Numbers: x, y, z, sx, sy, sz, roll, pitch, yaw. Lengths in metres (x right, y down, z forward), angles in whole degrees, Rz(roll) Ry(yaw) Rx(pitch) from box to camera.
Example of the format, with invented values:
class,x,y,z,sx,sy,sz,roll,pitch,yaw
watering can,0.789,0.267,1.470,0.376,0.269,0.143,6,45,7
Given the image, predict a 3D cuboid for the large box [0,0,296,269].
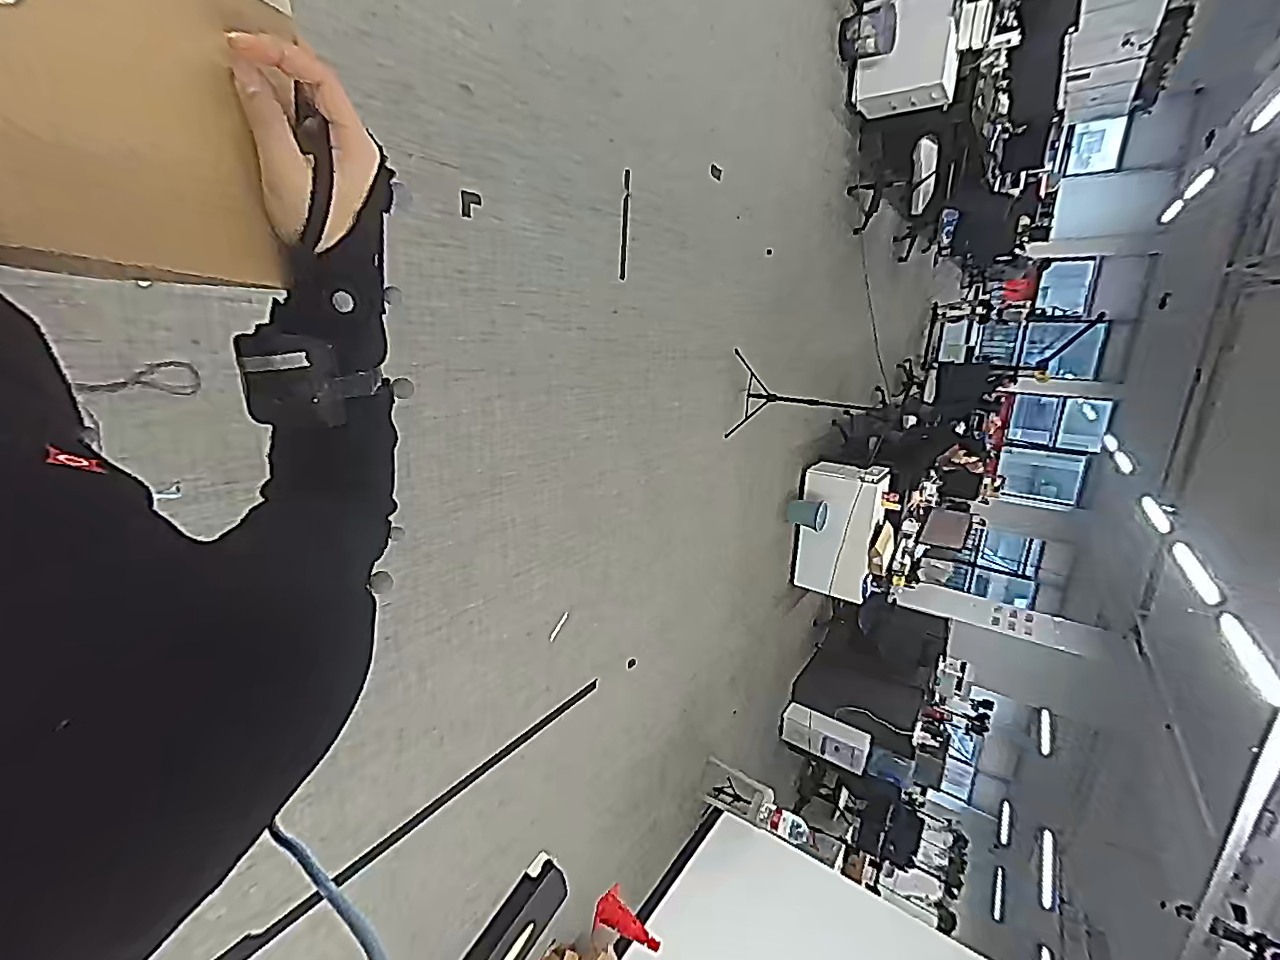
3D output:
class,x,y,z,sx,sy,sz,roll,pitch,yaw
large box,-0.436,-0.283,0.219,0.408,0.320,0.320,-14,115,-58
